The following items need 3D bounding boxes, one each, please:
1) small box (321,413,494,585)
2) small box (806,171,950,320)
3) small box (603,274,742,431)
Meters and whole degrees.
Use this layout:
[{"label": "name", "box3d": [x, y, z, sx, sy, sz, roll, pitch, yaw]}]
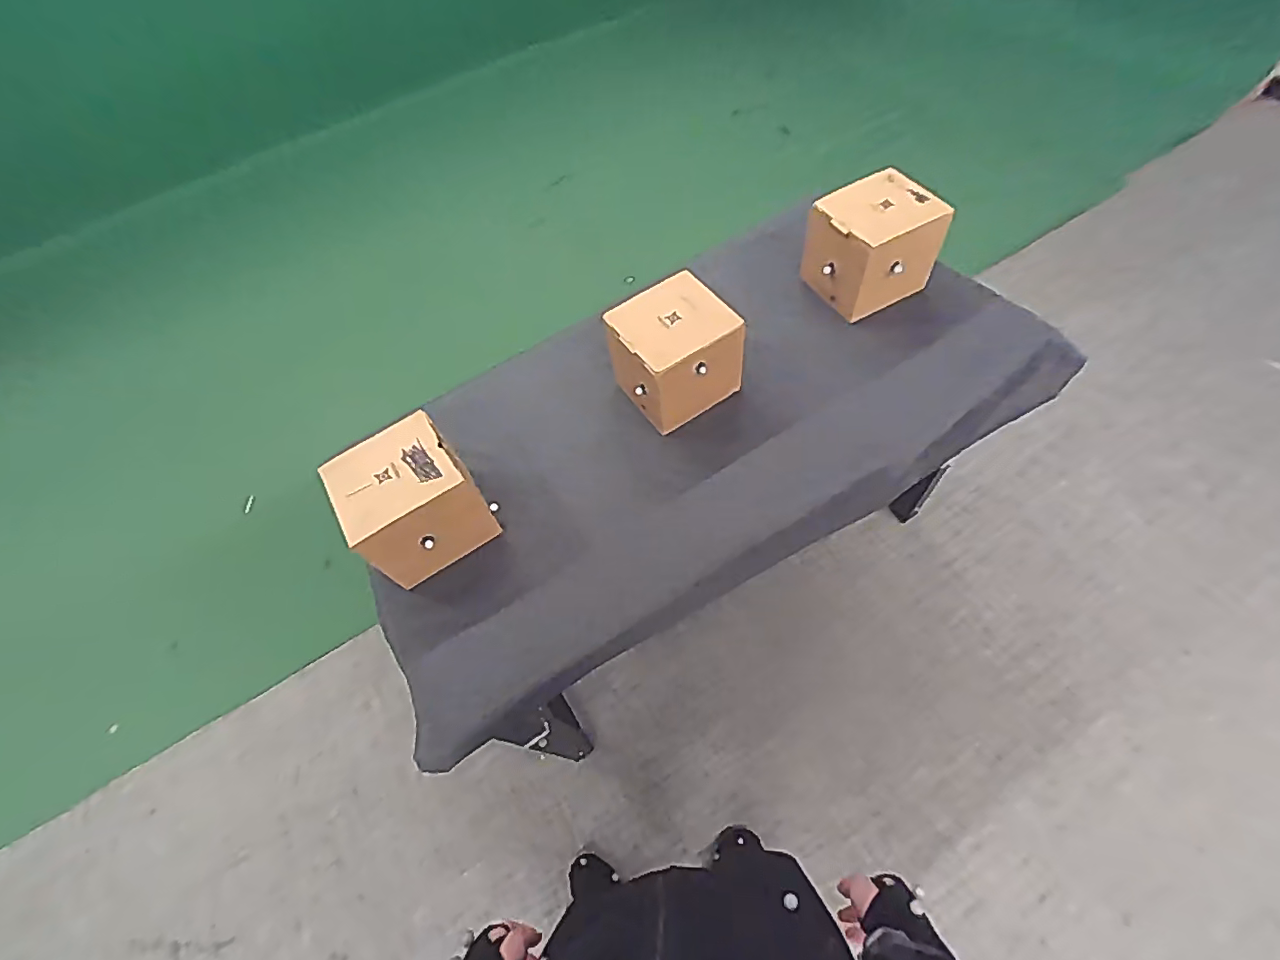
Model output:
[{"label": "small box", "box3d": [-0.351, 0.034, 0.850, 0.179, 0.176, 0.168, -32, 60, -11]}, {"label": "small box", "box3d": [0.431, -0.434, 1.018, 0.179, 0.176, 0.168, -26, 60, -7]}, {"label": "small box", "box3d": [0.059, -0.216, 0.945, 0.179, 0.176, 0.168, -31, 62, -12]}]
